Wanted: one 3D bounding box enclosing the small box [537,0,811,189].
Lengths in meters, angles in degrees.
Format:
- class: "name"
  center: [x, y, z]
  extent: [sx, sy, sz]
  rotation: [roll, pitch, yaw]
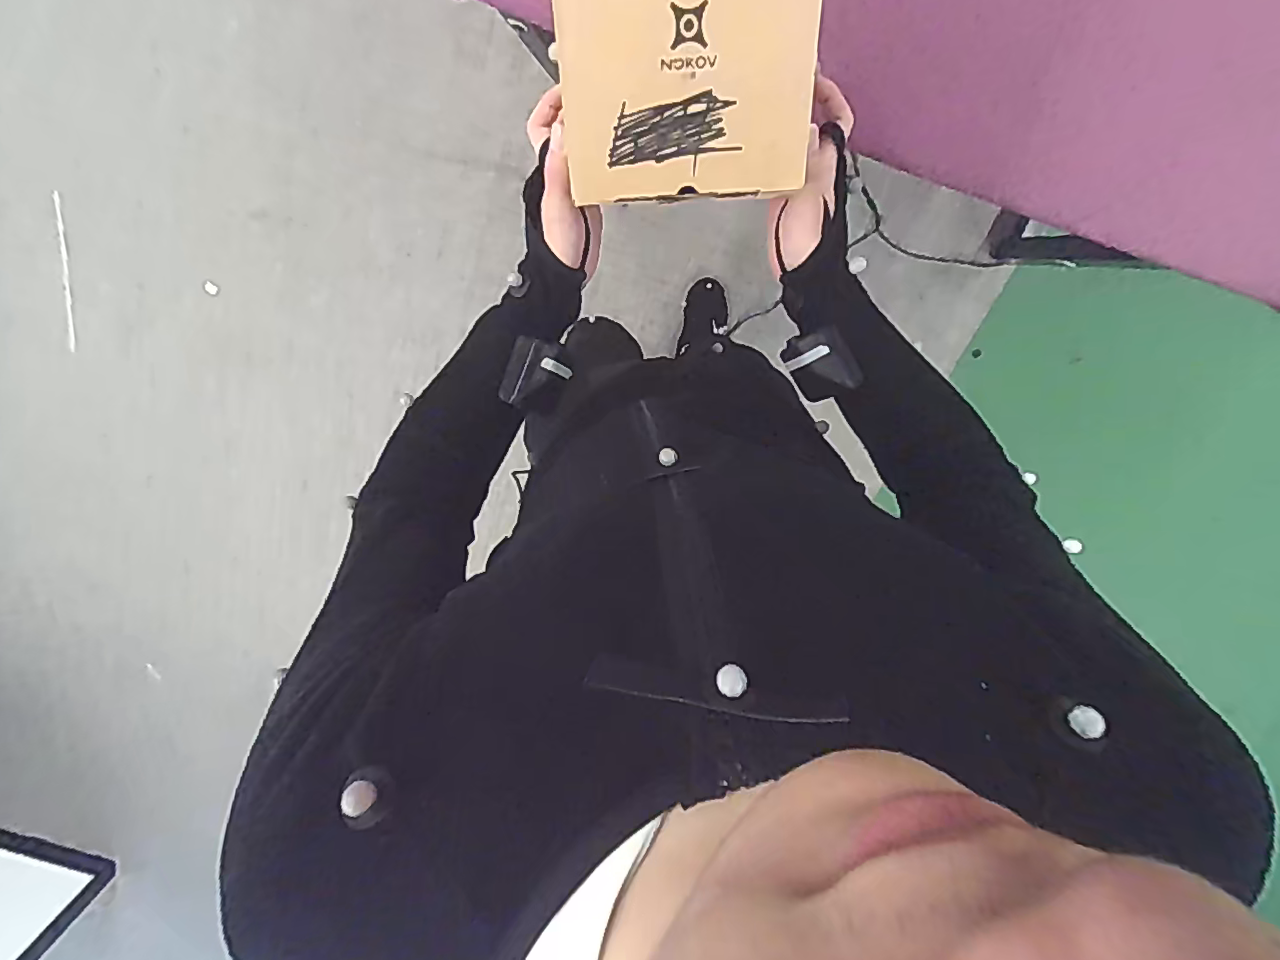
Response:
- class: "small box"
  center: [0.023, -0.320, 0.393]
  extent: [0.168, 0.176, 0.179]
  rotation: [-2, 122, 2]
